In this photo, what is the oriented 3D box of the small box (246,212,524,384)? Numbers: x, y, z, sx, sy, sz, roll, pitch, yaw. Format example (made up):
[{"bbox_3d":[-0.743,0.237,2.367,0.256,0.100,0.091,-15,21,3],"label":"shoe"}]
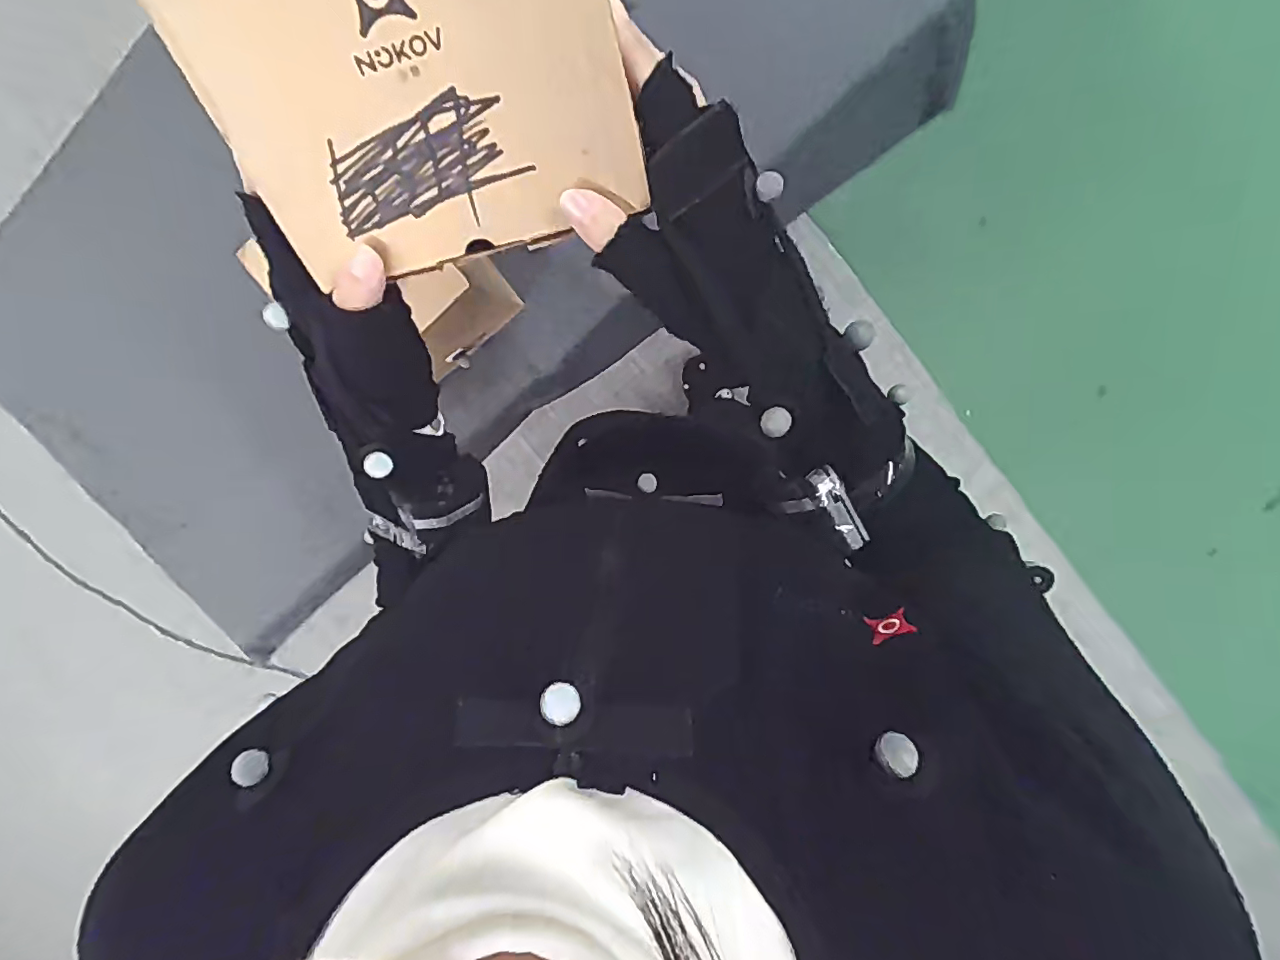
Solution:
[{"bbox_3d":[-0.260,-0.223,0.594,0.168,0.176,0.179,-39,95,13],"label":"small box"}]

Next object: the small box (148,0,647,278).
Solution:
[{"bbox_3d":[-0.093,-0.225,0.259,0.168,0.176,0.179,-10,127,10],"label":"small box"}]
